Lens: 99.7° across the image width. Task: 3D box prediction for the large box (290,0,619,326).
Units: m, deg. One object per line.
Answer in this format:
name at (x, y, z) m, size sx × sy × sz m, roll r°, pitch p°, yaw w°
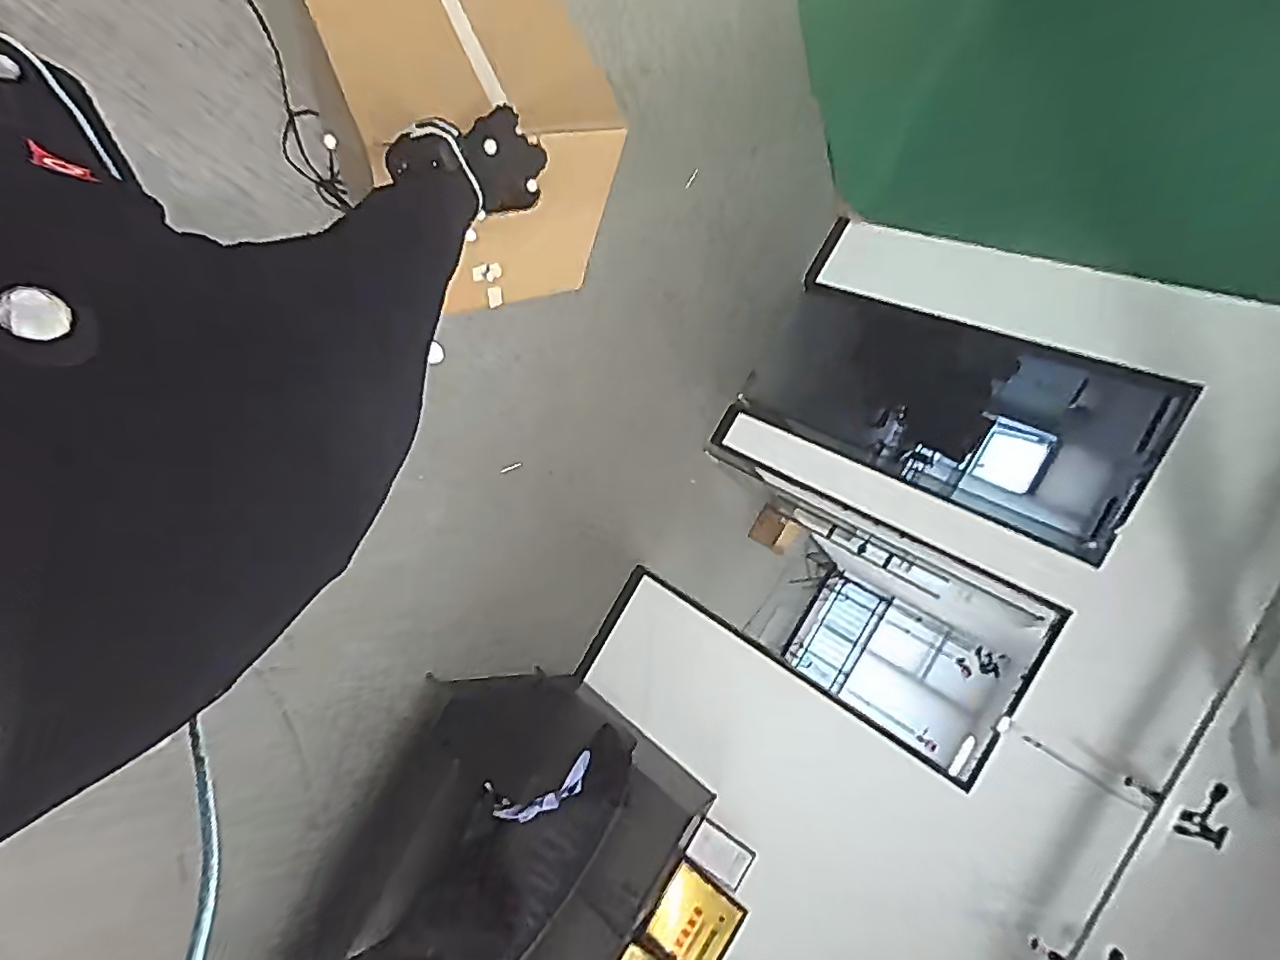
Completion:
large box at (-0.280, -0.509, 0.812) m, size 0.320 × 0.408 × 0.320 m, roll -20°, pitch 167°, yaw -25°
